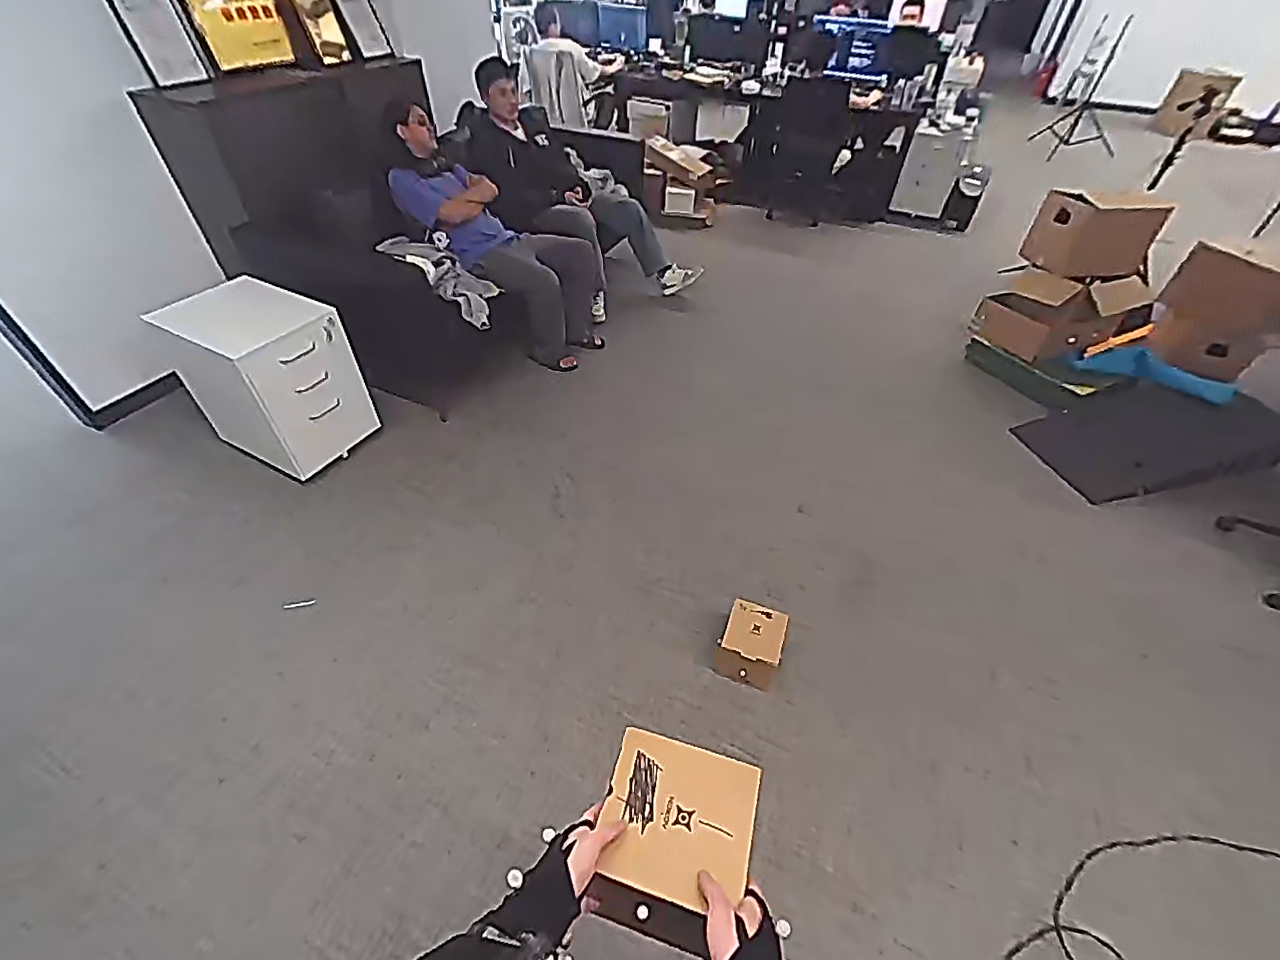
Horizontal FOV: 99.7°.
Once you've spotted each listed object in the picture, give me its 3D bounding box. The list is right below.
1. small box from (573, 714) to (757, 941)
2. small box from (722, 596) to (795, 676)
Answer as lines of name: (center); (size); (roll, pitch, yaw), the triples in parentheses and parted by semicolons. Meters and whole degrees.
small box: (0.033, 0.436, 0.681); (0.179, 0.176, 0.168); (15, 42, 16)
small box: (0.350, 0.477, 1.641); (0.179, 0.176, 0.168); (-6, 43, -5)
